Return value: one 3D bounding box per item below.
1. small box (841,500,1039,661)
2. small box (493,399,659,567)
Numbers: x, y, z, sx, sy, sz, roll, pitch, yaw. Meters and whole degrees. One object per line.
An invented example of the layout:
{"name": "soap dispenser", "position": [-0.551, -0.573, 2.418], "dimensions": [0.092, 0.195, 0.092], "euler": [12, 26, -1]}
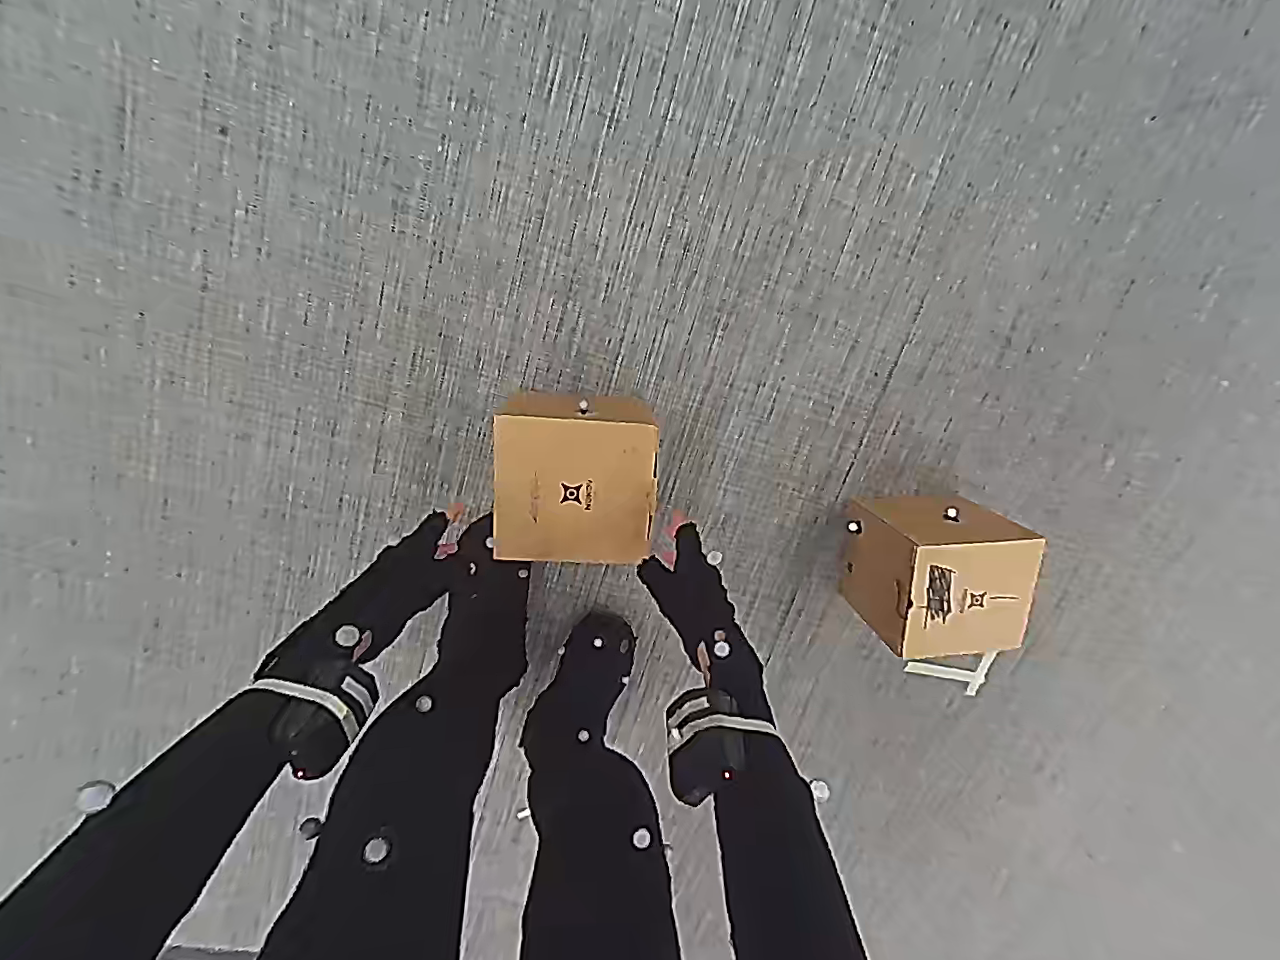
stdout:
{"name": "small box", "position": [0.408, 0.134, 0.769], "dimensions": [0.179, 0.176, 0.168], "euler": [-3, 108, -6]}
{"name": "small box", "position": [-0.080, -0.004, 0.668], "dimensions": [0.179, 0.176, 0.168], "euler": [3, 106, -7]}
